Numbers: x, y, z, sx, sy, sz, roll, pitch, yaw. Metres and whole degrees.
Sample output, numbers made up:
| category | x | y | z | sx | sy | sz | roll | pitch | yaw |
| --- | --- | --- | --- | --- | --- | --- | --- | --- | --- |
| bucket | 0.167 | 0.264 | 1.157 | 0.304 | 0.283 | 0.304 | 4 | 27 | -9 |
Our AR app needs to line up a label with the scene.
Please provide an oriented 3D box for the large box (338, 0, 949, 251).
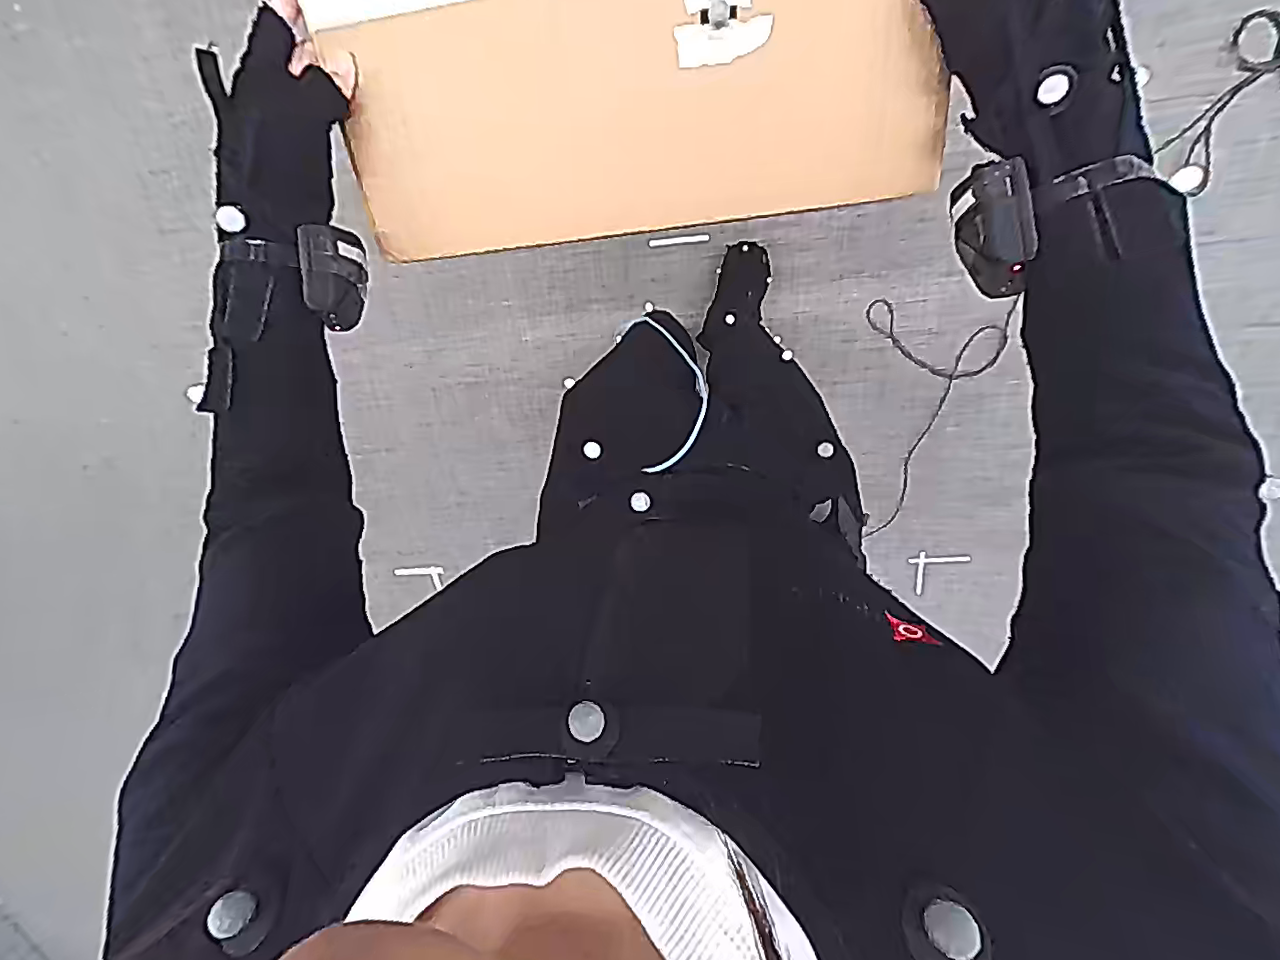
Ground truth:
| category | x | y | z | sx | sy | sz | roll | pitch | yaw |
| --- | --- | --- | --- | --- | --- | --- | --- | --- | --- |
| large box | 0.004 | -0.401 | 0.472 | 0.408 | 0.320 | 0.320 | -4 | 116 | 9 |
